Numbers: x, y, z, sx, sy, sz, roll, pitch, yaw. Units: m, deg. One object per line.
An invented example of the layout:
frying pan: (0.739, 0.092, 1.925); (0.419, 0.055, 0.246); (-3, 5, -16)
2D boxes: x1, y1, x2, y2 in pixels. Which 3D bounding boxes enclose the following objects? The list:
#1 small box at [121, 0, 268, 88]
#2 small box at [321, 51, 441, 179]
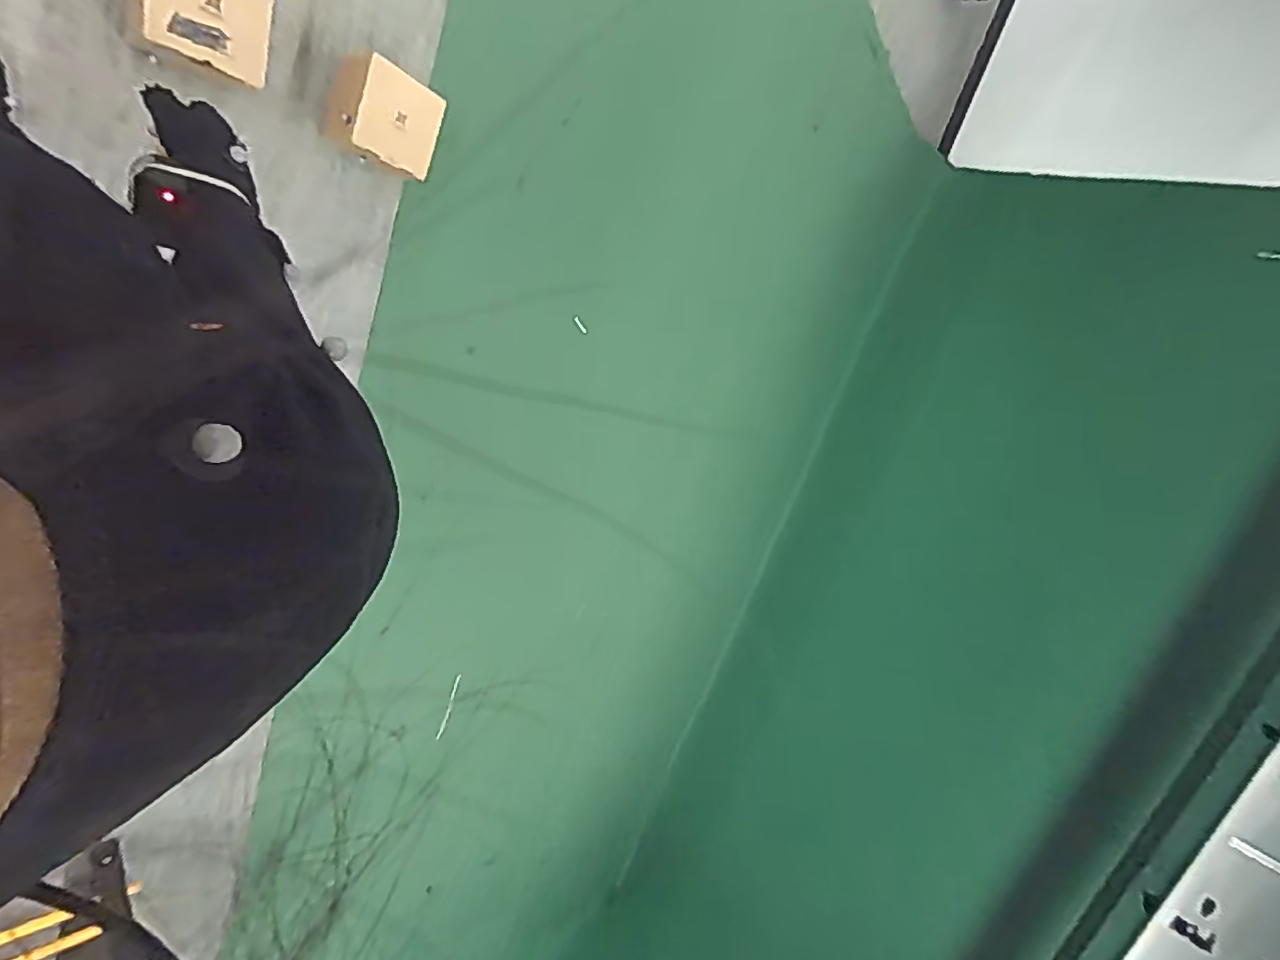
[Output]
small box: (-0.769, -0.812, 0.933); (0.168, 0.176, 0.179); (-2, 114, -51)
small box: (-0.574, -0.797, 1.192); (0.168, 0.176, 0.179); (6, 109, -52)
